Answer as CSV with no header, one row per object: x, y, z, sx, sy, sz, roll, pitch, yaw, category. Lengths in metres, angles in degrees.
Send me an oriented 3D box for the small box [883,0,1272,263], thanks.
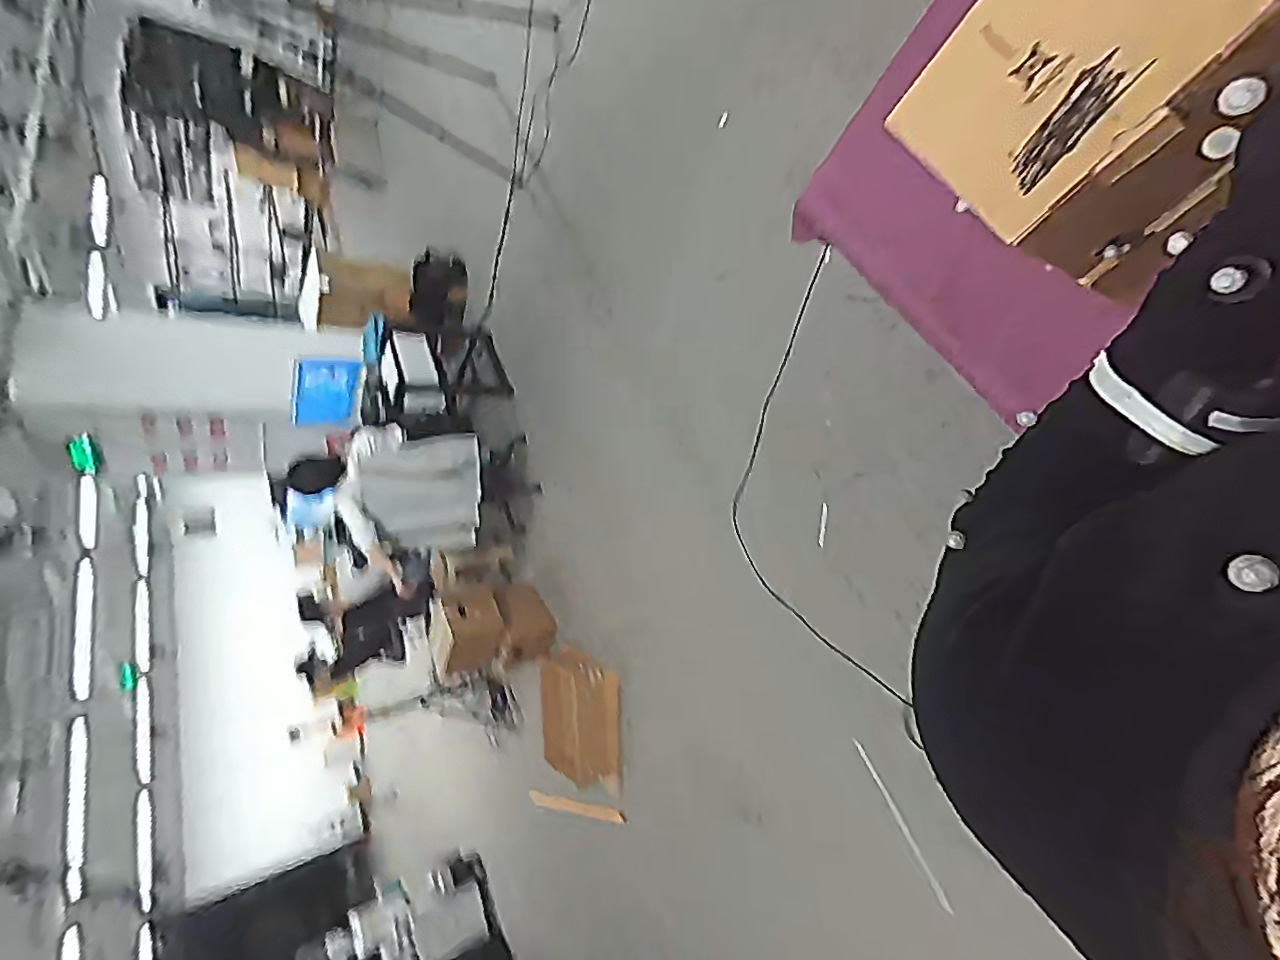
0.354,-0.305,0.449,0.168,0.176,0.179,-49,56,43,small box

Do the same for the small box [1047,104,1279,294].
0.486,-0.310,0.548,0.168,0.176,0.179,-50,57,42,small box
